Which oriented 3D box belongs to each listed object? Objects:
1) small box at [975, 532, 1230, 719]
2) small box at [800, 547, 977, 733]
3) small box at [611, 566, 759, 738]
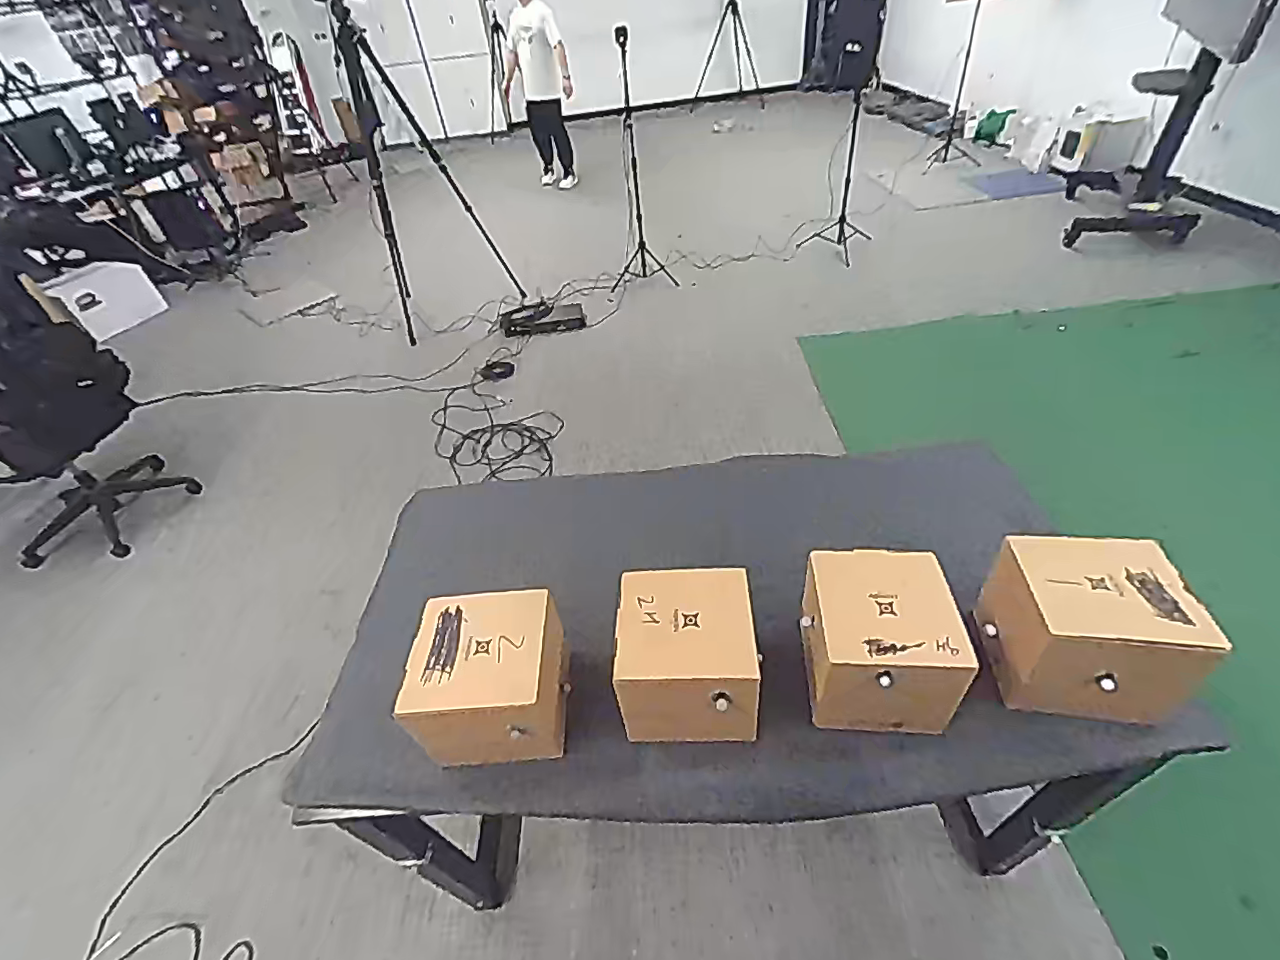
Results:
[{"bbox_3d":[0.574,0.189,0.705,0.179,0.176,0.168,2,40,13],"label":"small box"},{"bbox_3d":[0.314,0.212,0.729,0.168,0.176,0.179,0,41,9],"label":"small box"},{"bbox_3d":[0.065,0.237,0.743,0.179,0.176,0.168,-4,41,7],"label":"small box"}]
